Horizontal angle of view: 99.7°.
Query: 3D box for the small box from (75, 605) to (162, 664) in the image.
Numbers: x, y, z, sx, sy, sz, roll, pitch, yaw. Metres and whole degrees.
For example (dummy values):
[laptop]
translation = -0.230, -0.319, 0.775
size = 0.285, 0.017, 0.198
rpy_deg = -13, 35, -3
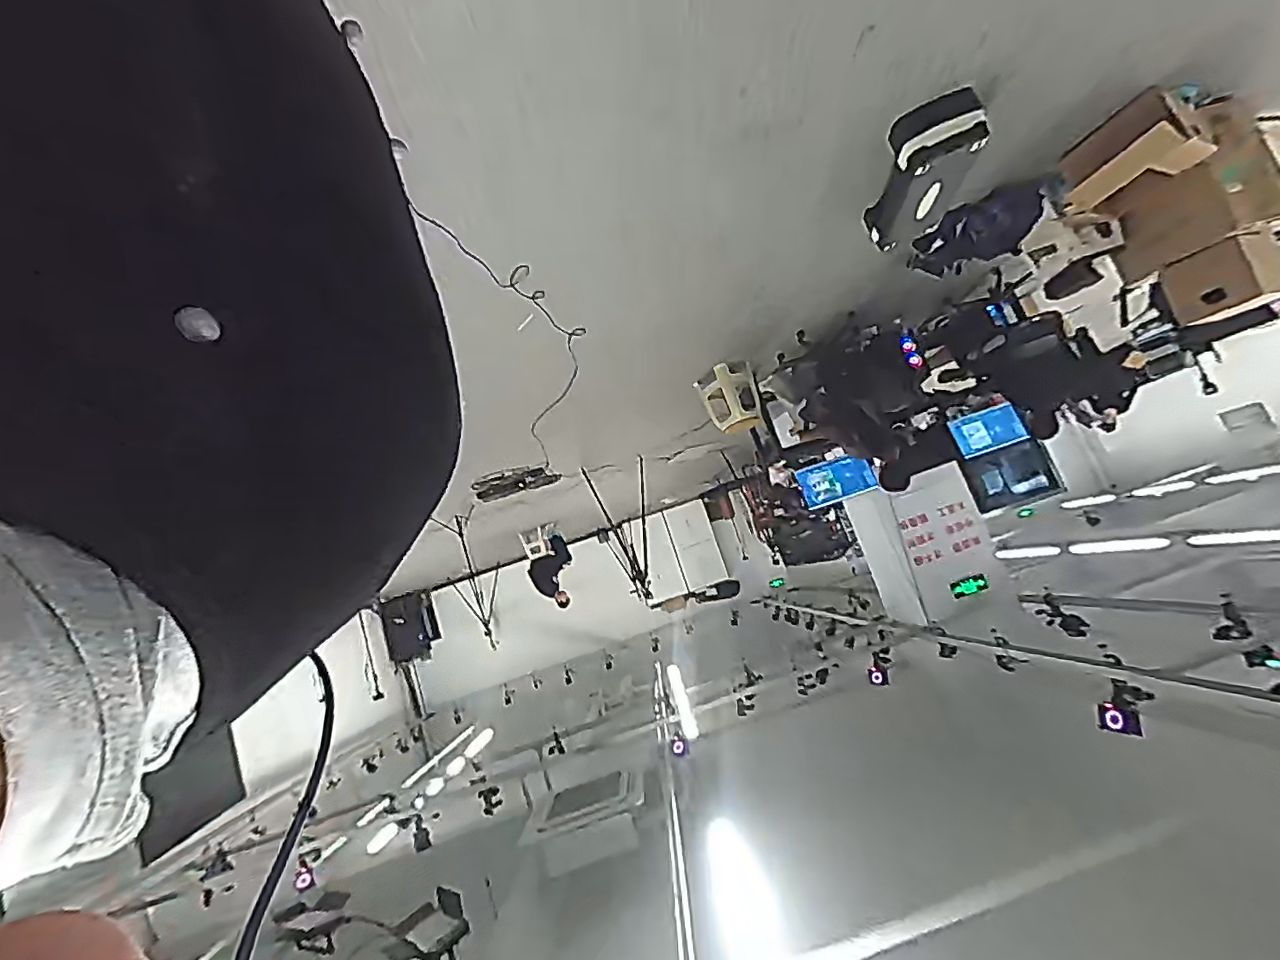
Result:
[small box]
translation = -2.011, 0.587, 2.082
size = 0.179, 0.176, 0.168
rpy_deg = -19, 169, -4
